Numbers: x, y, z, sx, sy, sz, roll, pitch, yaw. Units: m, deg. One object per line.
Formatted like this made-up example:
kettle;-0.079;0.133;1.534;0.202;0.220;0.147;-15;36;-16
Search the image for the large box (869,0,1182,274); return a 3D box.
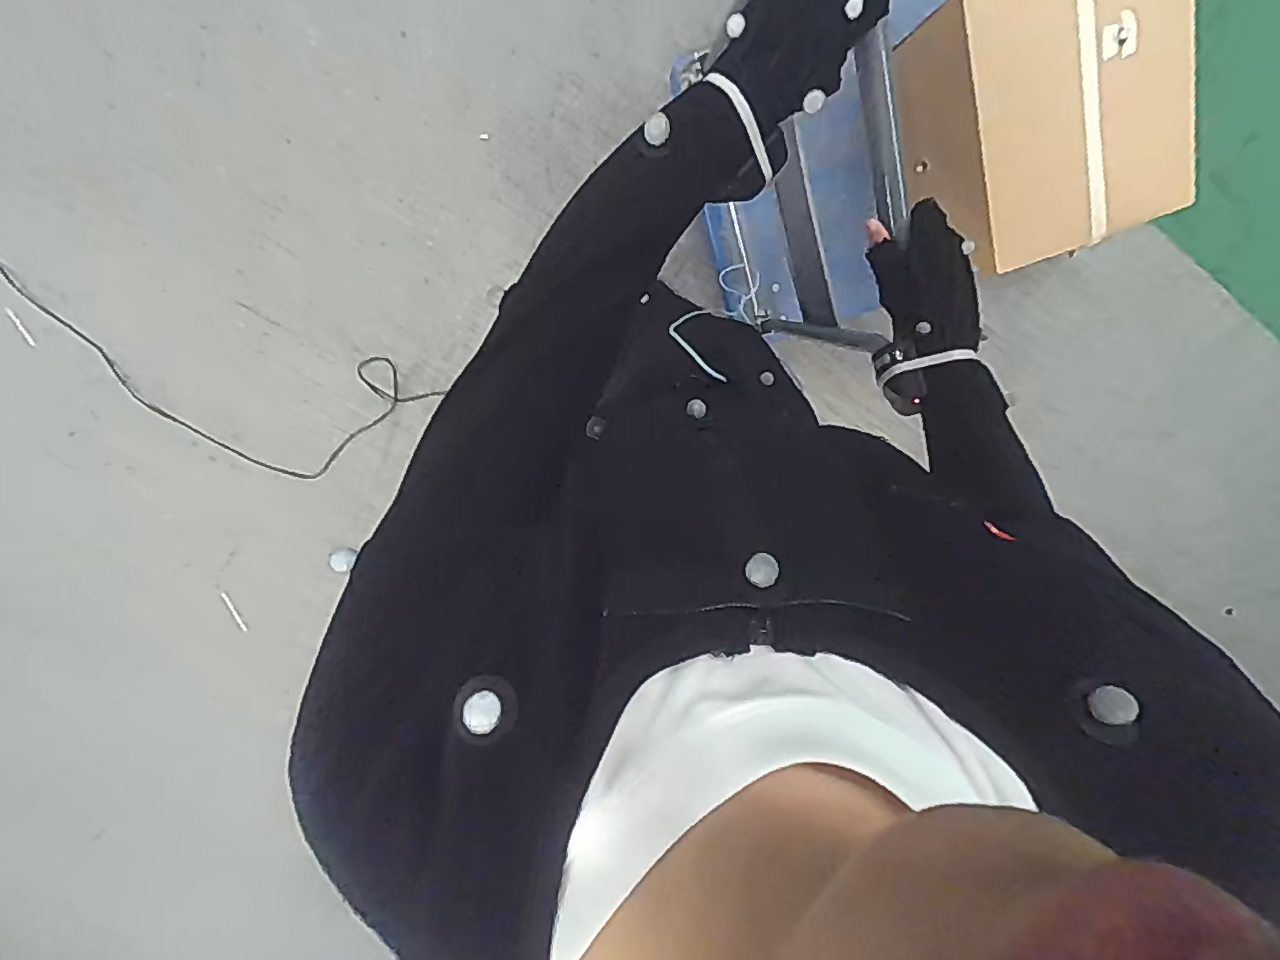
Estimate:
large box;0.652;-0.622;0.957;0.320;0.320;0.408;-19;108;5
